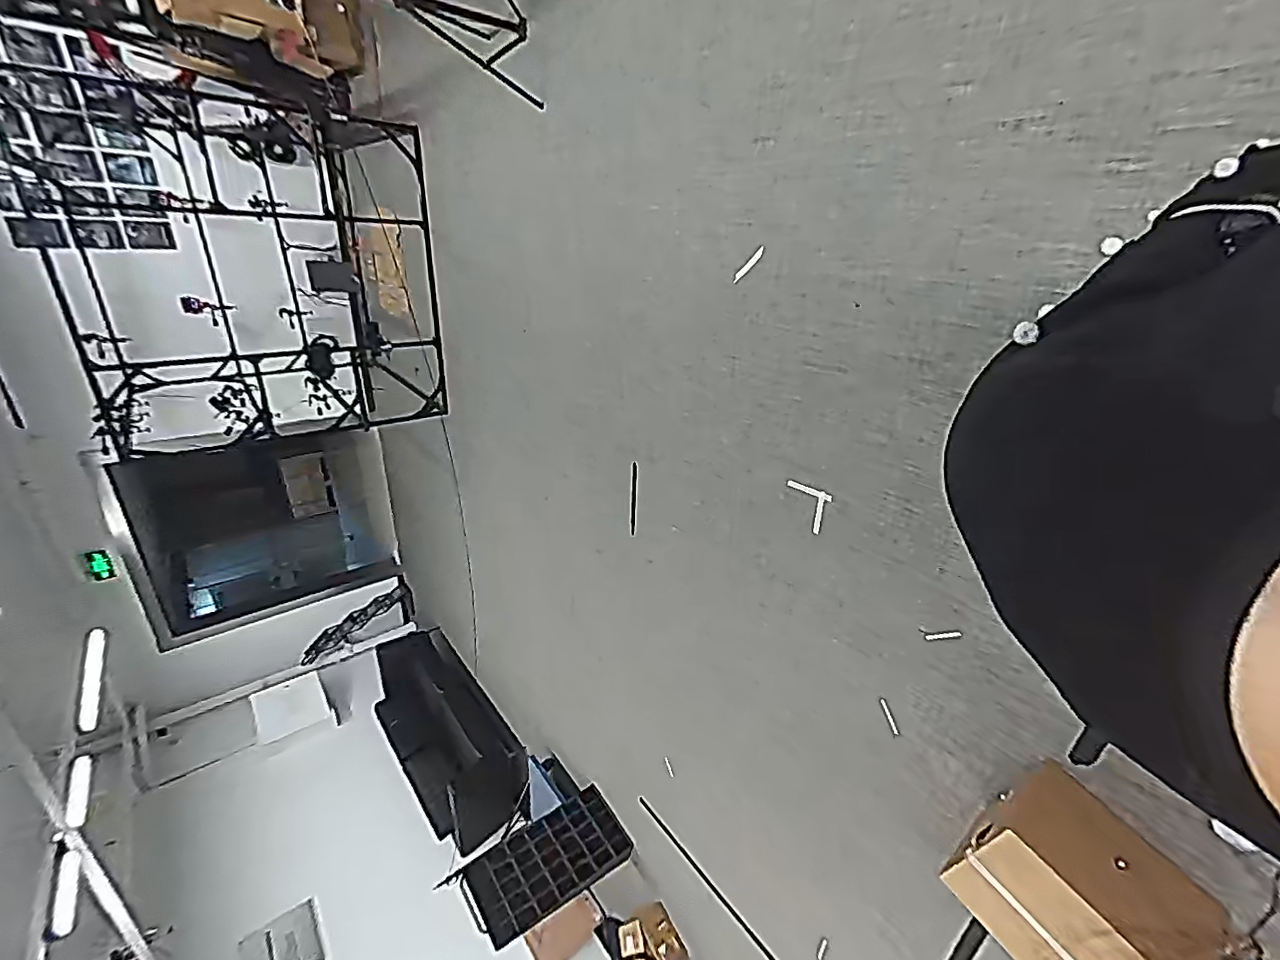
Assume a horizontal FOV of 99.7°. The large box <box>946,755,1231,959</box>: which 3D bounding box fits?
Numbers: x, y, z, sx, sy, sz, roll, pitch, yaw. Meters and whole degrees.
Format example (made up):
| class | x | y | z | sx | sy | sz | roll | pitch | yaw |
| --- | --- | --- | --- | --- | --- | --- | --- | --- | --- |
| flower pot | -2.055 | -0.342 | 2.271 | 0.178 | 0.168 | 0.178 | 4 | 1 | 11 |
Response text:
| class | x | y | z | sx | sy | sz | roll | pitch | yaw |
| --- | --- | --- | --- | --- | --- | --- | --- | --- | --- |
| large box | 1.072 | 0.987 | 1.324 | 0.408 | 0.320 | 0.320 | 43 | 134 | 34 |
